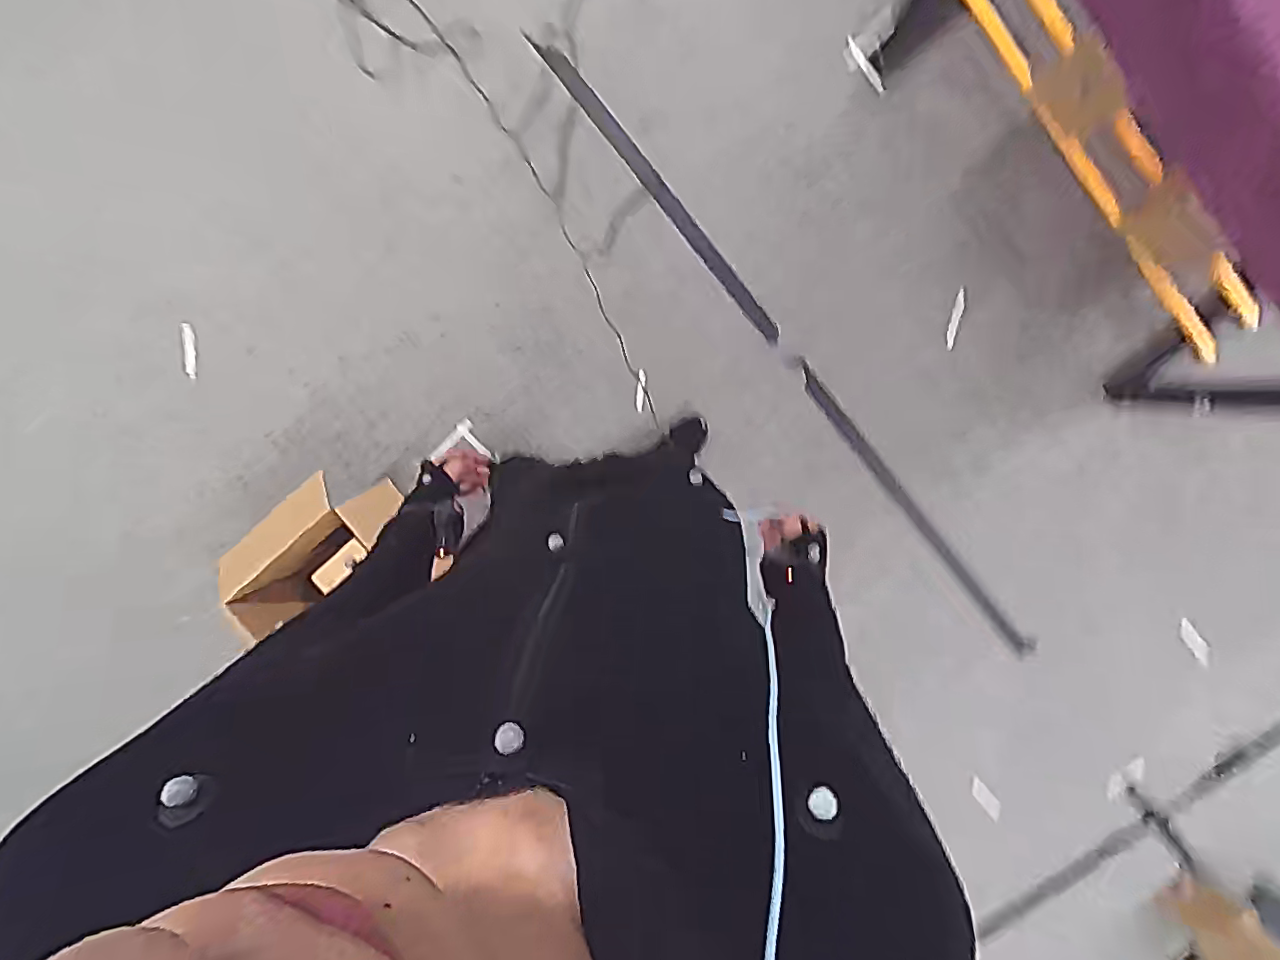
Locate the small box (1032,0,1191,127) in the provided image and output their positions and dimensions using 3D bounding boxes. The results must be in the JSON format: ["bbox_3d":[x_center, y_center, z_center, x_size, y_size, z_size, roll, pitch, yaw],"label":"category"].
[{"bbox_3d":[1.041,-0.944,1.211,0.168,0.176,0.179,-43,99,8],"label":"small box"}]
